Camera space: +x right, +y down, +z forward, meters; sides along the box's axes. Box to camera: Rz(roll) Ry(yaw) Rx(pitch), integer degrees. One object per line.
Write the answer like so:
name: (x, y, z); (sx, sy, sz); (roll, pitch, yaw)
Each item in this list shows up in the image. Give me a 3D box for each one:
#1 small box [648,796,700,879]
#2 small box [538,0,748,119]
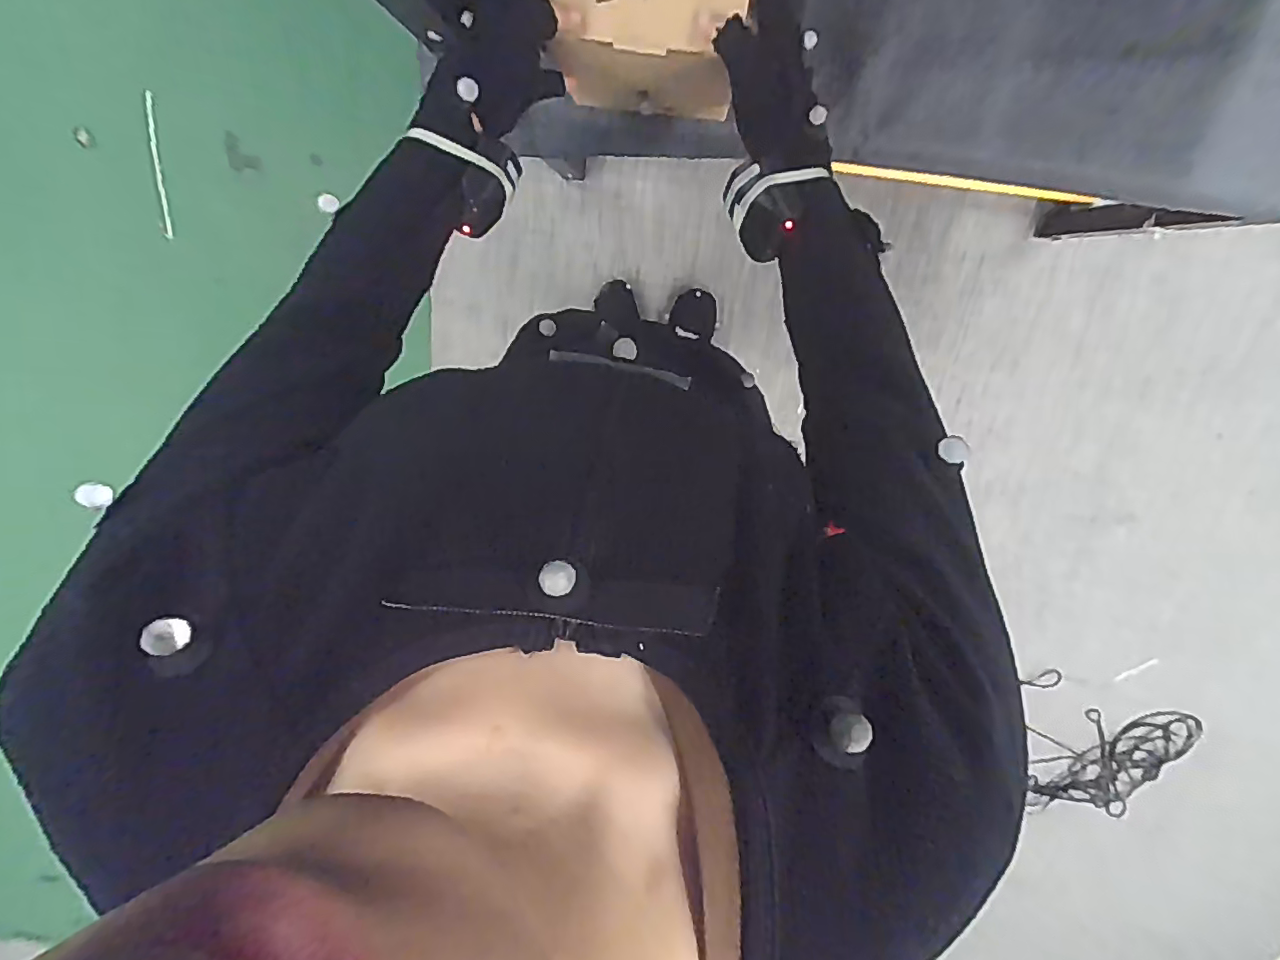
small box: (0.118, 1.251, 1.895); (0.168, 0.176, 0.179); (4, 110, 1)
small box: (0.014, -0.453, 0.479); (0.168, 0.176, 0.179); (7, 110, 2)
